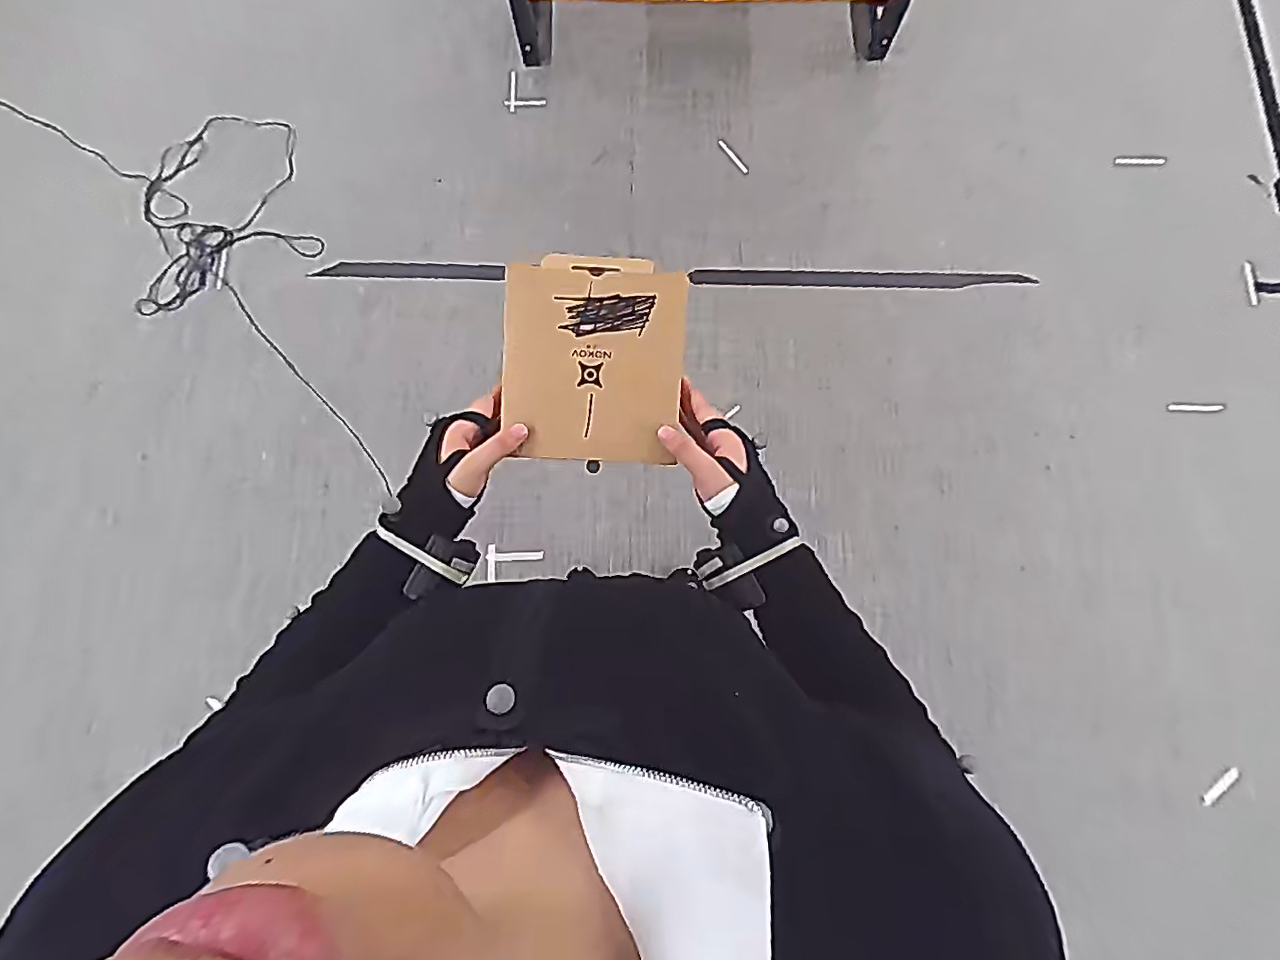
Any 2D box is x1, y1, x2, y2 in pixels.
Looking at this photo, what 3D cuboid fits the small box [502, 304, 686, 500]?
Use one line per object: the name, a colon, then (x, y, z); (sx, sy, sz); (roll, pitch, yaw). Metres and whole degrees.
small box: (-0.044, -0.077, 0.586); (0.168, 0.176, 0.179); (3, 94, 0)
